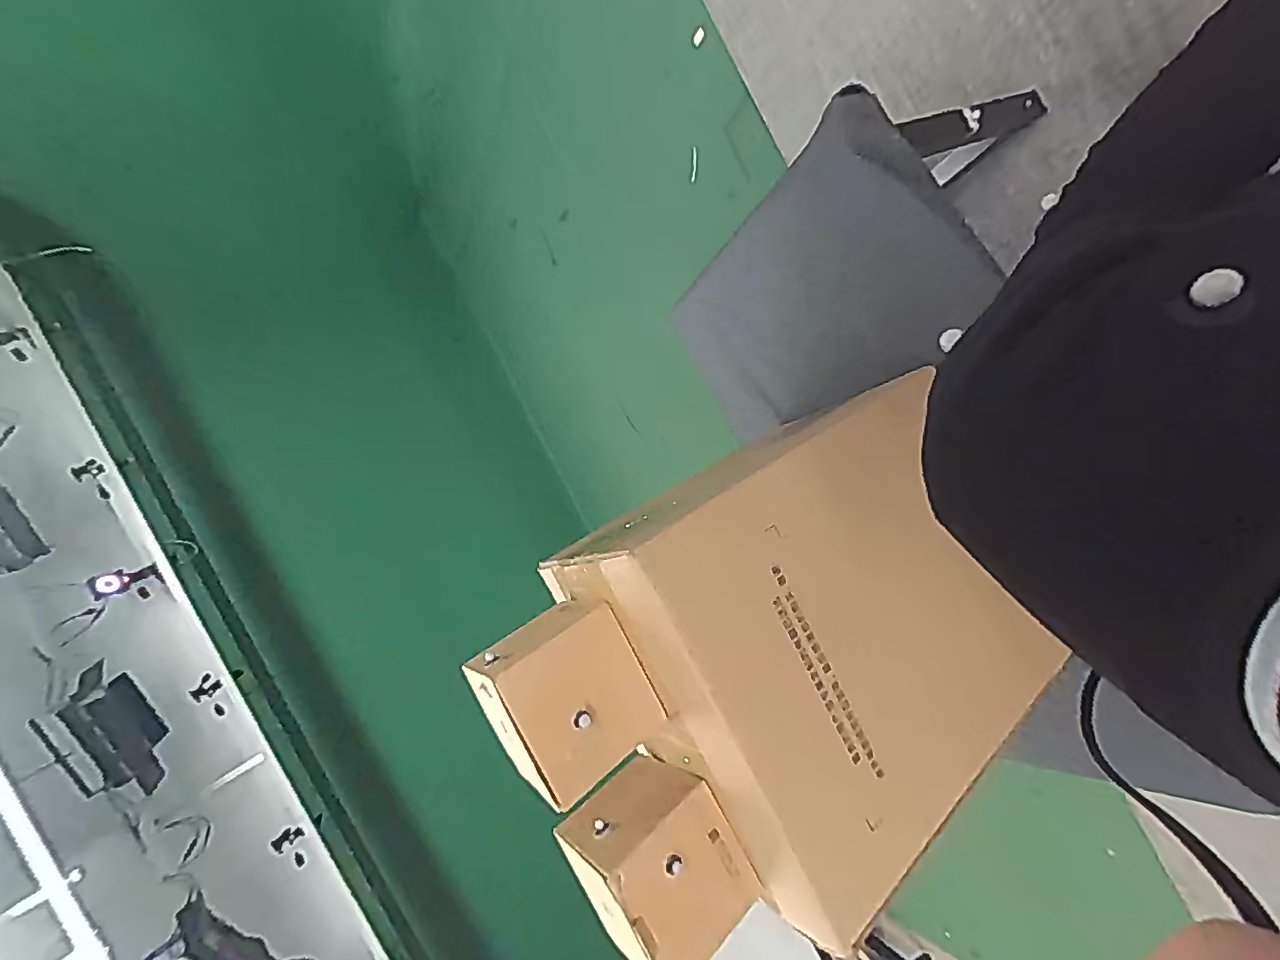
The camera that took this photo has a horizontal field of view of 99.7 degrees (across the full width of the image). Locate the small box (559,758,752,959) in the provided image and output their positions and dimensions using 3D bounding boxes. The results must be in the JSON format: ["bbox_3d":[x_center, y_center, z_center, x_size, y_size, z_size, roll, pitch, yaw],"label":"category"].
[{"bbox_3d":[0.024,0.506,0.720,0.168,0.176,0.179,63,150,0],"label":"small box"}]

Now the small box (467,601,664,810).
[{"bbox_3d":[-0.098,0.280,0.714,0.168,0.176,0.179,-24,95,58],"label":"small box"}]
